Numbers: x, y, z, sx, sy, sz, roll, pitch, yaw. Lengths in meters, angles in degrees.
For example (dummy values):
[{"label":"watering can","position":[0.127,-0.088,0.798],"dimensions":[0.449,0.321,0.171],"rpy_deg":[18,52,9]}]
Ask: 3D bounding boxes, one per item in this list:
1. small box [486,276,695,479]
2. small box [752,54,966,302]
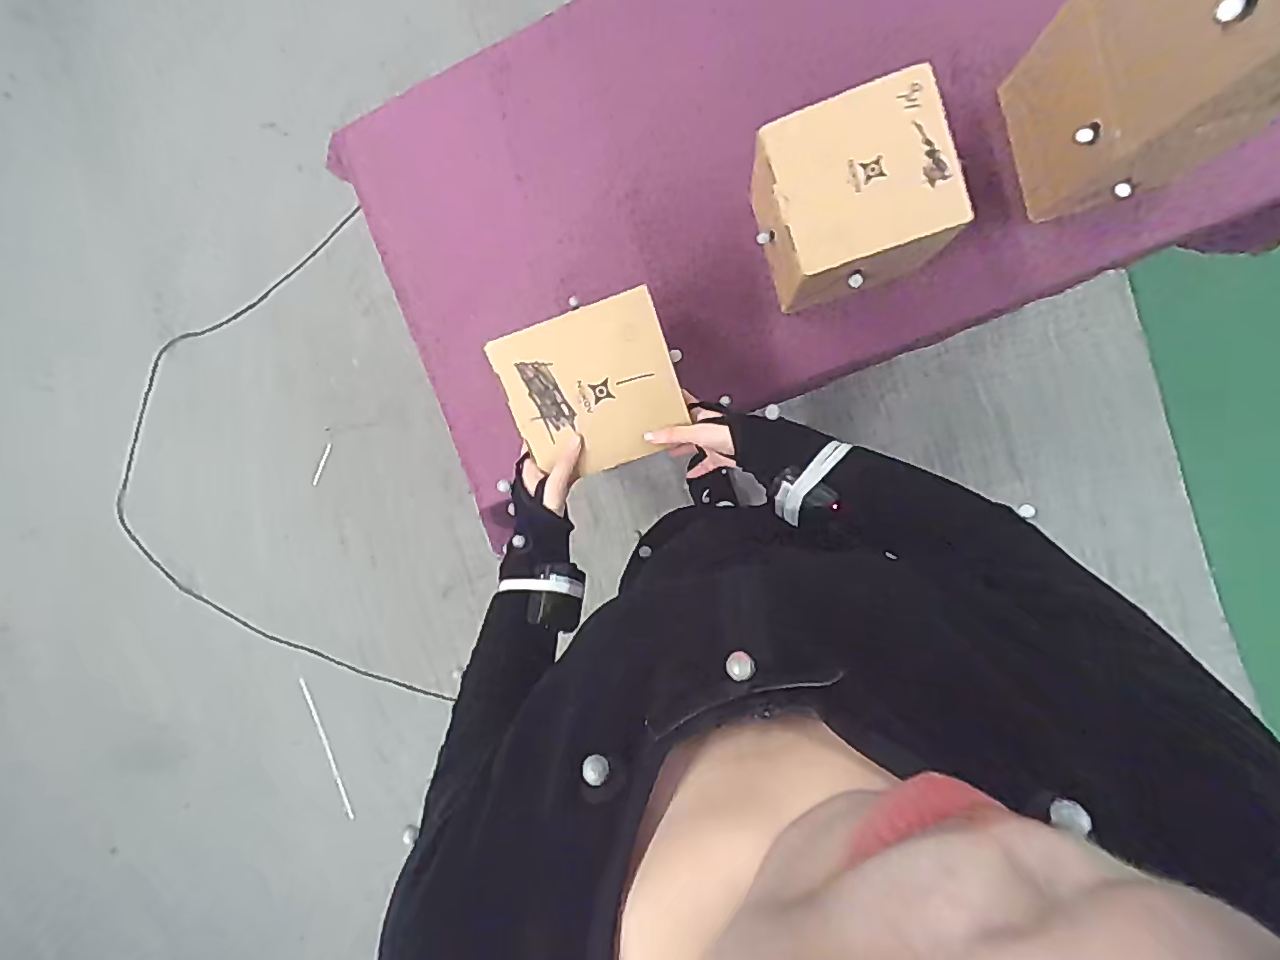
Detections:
[{"label":"small box","position":[-0.049,-0.123,0.630],"dimensions":[0.179,0.176,0.168],"rpy_deg":[-19,109,5]},{"label":"small box","position":[0.237,-0.328,0.632],"dimensions":[0.179,0.176,0.168],"rpy_deg":[-16,91,10]}]
